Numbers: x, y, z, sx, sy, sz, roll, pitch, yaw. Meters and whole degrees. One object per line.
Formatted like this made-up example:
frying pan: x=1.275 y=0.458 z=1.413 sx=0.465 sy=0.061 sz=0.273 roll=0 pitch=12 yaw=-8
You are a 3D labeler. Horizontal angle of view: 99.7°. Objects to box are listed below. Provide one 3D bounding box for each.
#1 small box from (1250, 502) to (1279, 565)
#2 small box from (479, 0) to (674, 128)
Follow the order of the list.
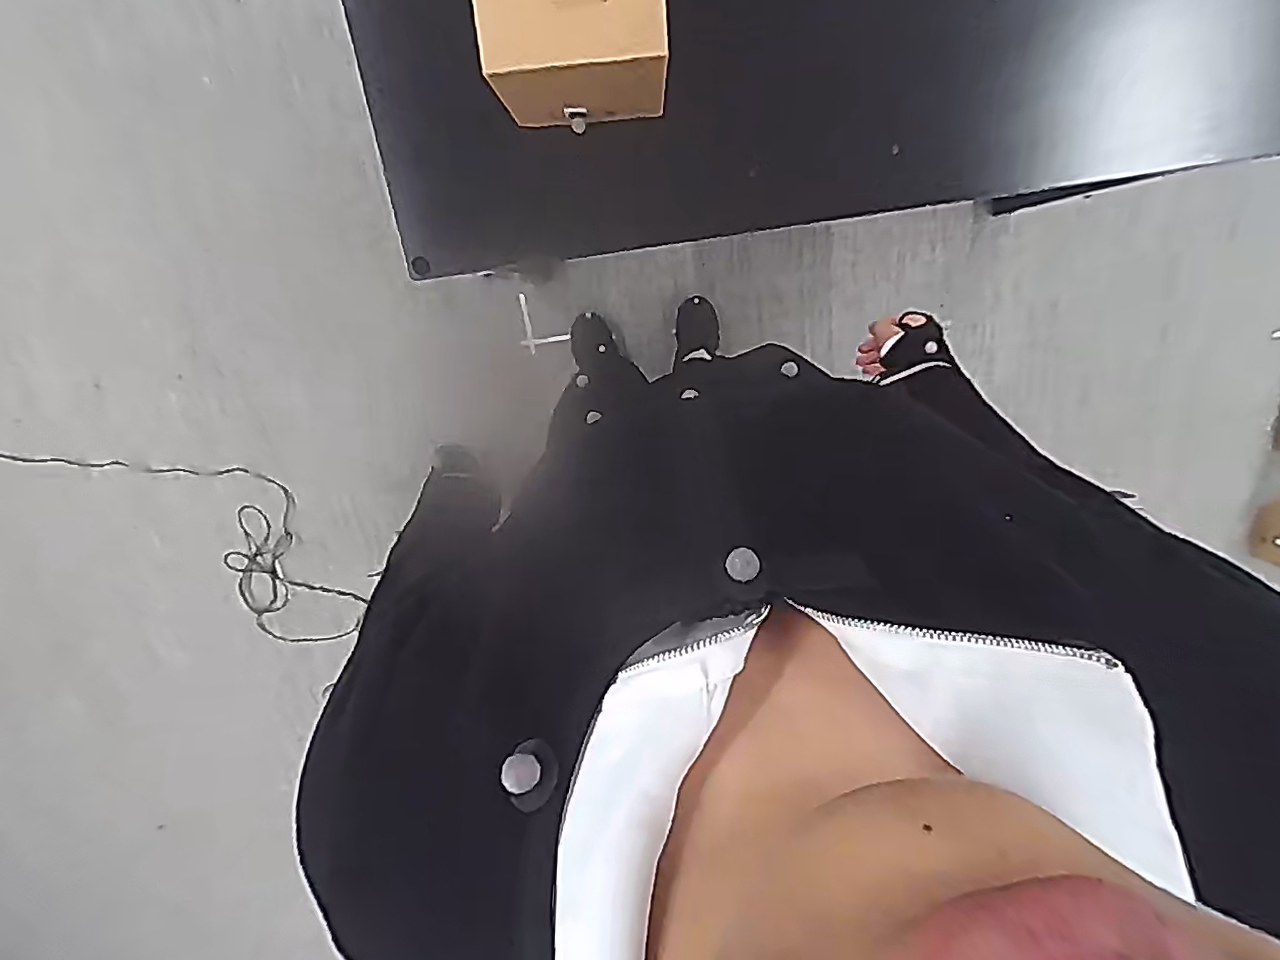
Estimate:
small box: x=1.871 y=0.159 z=1.492 sx=0.179 sy=0.176 sz=0.168 roll=-5 pitch=109 yaw=3
small box: x=-0.058 y=-0.468 z=0.519 sx=0.168 sy=0.176 sz=0.179 roll=-5 pitch=109 yaw=3
